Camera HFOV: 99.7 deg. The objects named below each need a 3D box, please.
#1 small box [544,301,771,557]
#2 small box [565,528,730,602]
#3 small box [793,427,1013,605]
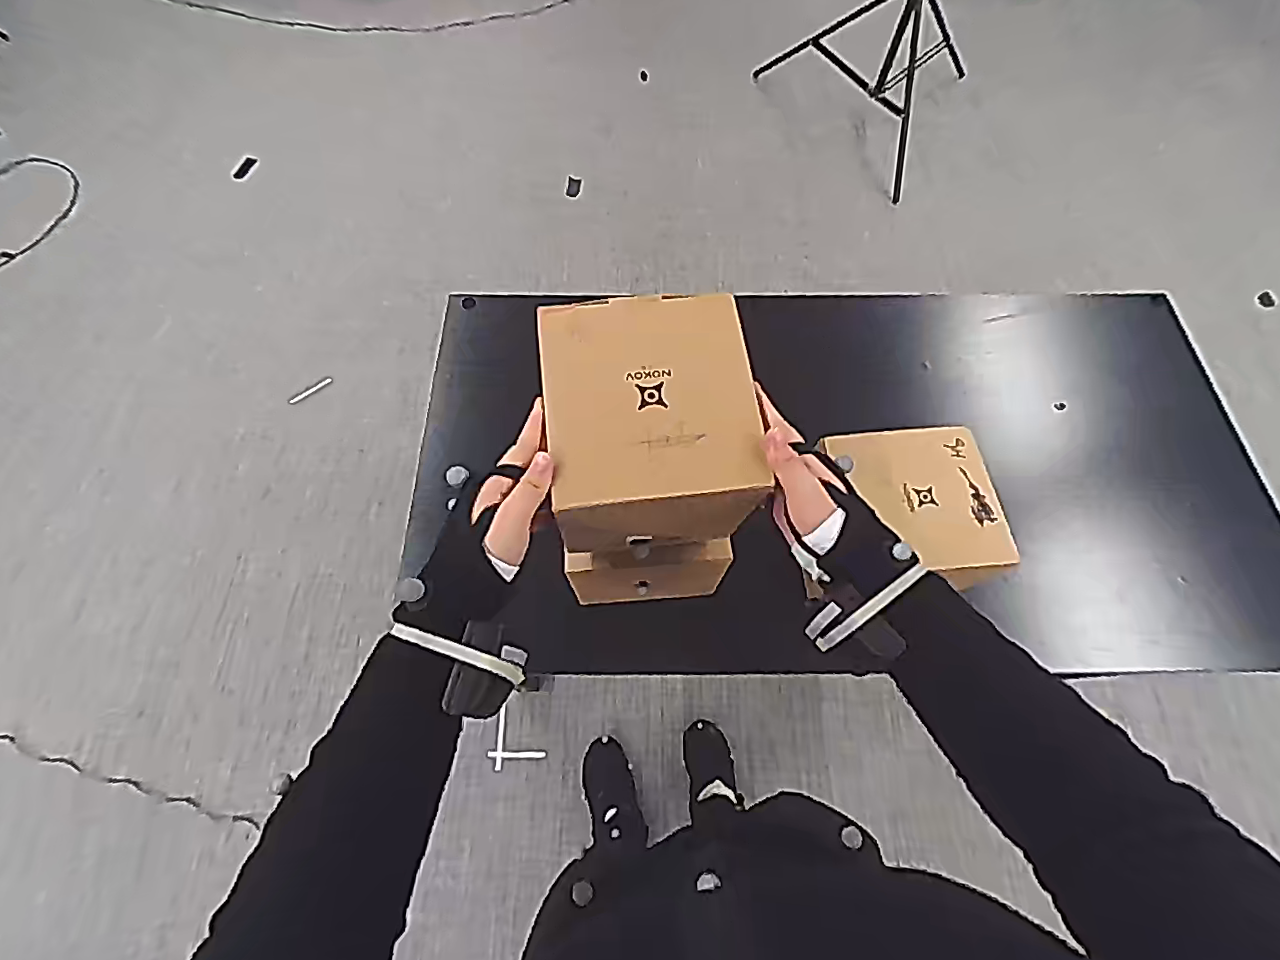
[{"bbox_3d":[0.004,-0.038,0.502,0.168,0.176,0.179,-6,70,-5],"label":"small box"},{"bbox_3d":[0.003,0.049,0.666,0.179,0.176,0.168,-5,65,-1],"label":"small box"},{"bbox_3d":[0.298,0.052,0.665,0.179,0.176,0.168,-4,65,-1],"label":"small box"}]
